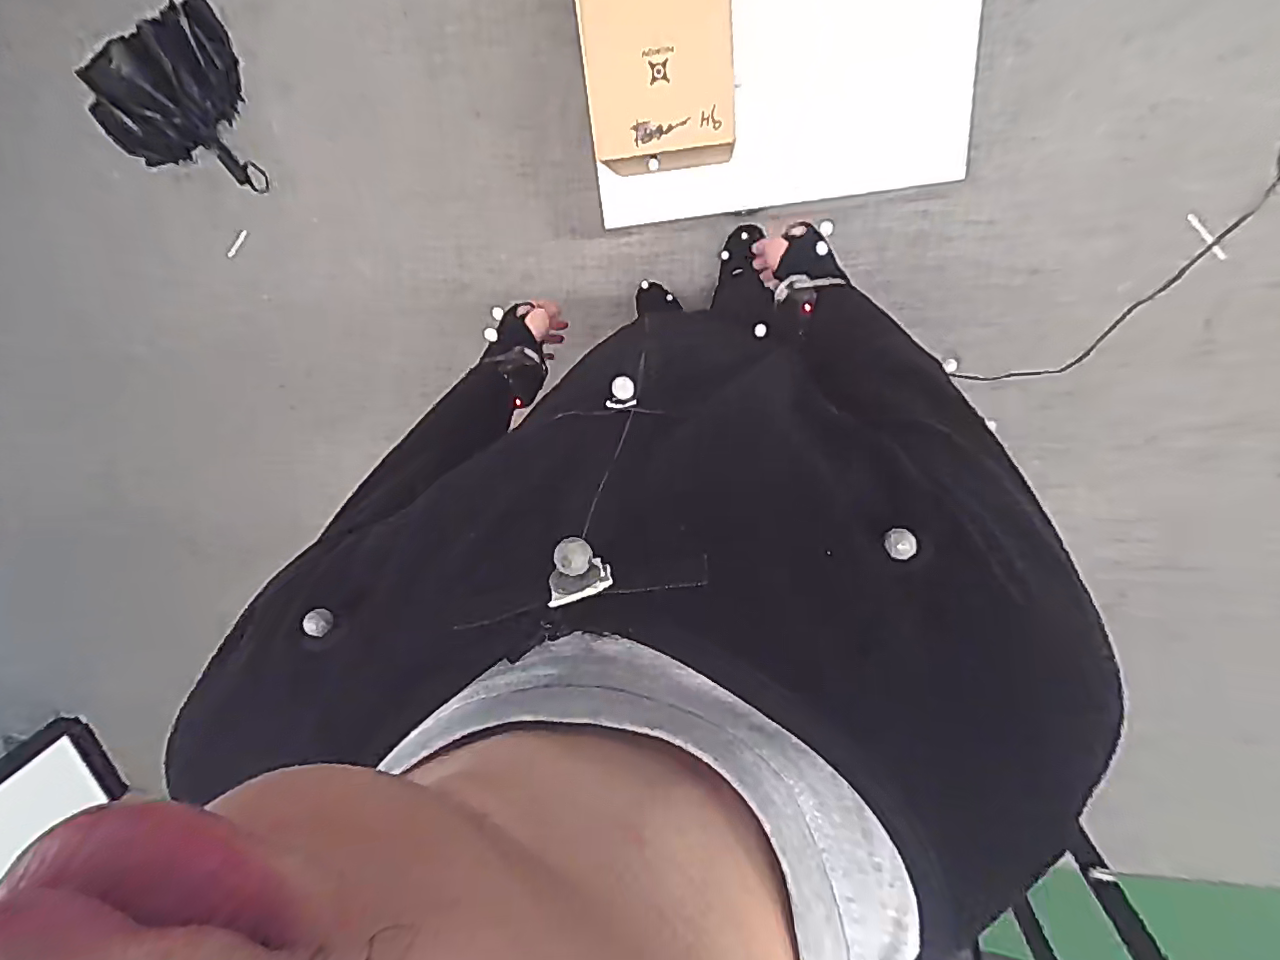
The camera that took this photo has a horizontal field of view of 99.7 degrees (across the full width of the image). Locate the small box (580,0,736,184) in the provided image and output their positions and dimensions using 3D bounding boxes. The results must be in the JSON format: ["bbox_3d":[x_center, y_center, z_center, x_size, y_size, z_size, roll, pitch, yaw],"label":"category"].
[{"bbox_3d":[0.030,-0.490,0.679,0.168,0.176,0.179,-4,111,9],"label":"small box"}]
